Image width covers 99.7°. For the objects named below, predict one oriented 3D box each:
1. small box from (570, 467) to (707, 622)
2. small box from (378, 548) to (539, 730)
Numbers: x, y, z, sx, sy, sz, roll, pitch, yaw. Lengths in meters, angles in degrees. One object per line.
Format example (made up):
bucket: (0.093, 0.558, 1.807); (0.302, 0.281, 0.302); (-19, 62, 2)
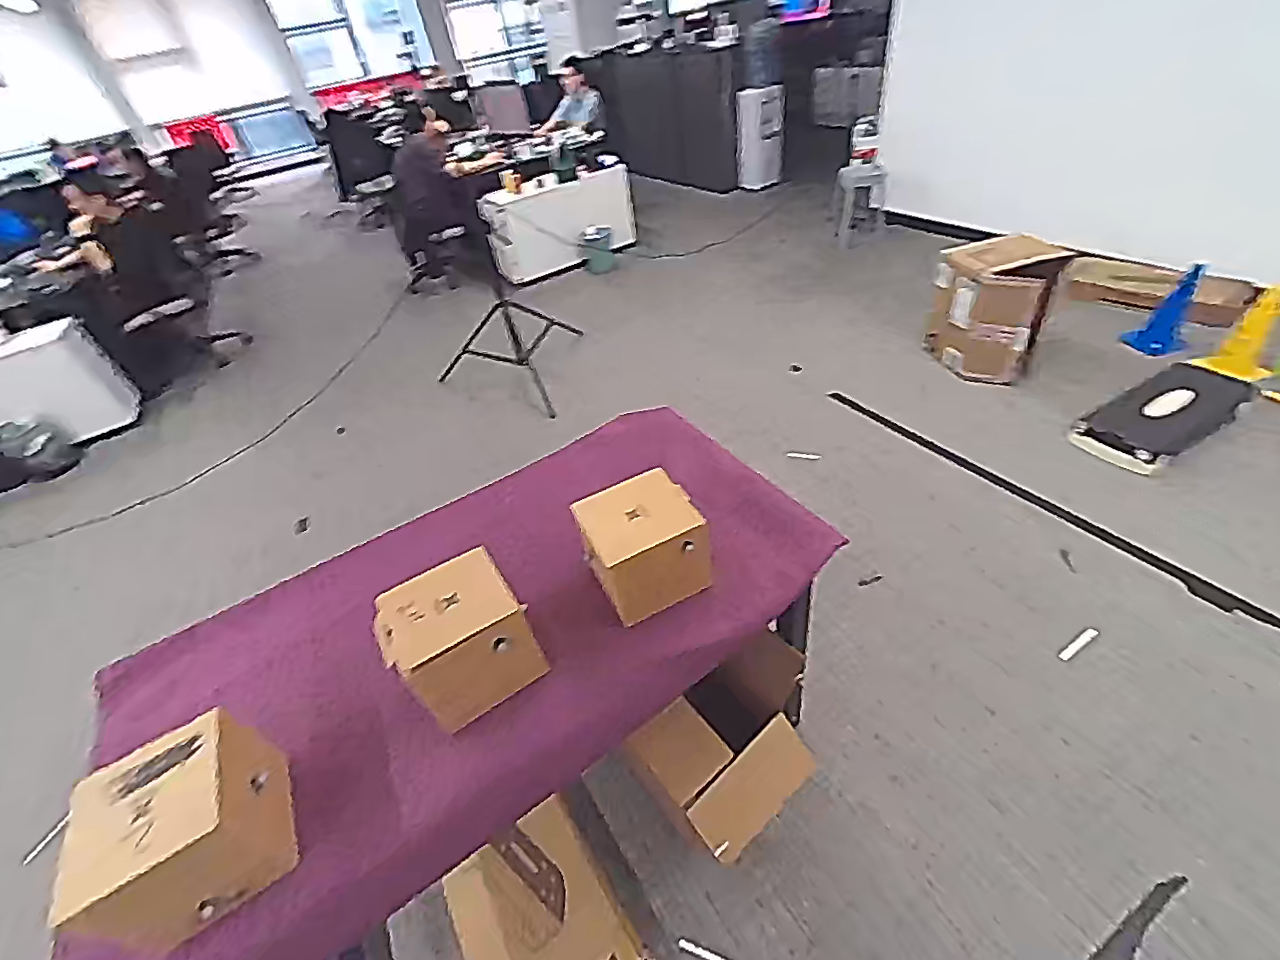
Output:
small box: (0.002, 0.113, 0.937); (0.179, 0.176, 0.168); (-24, 43, -15)
small box: (-0.273, 0.246, 0.845); (0.179, 0.176, 0.168); (-29, 42, -20)
